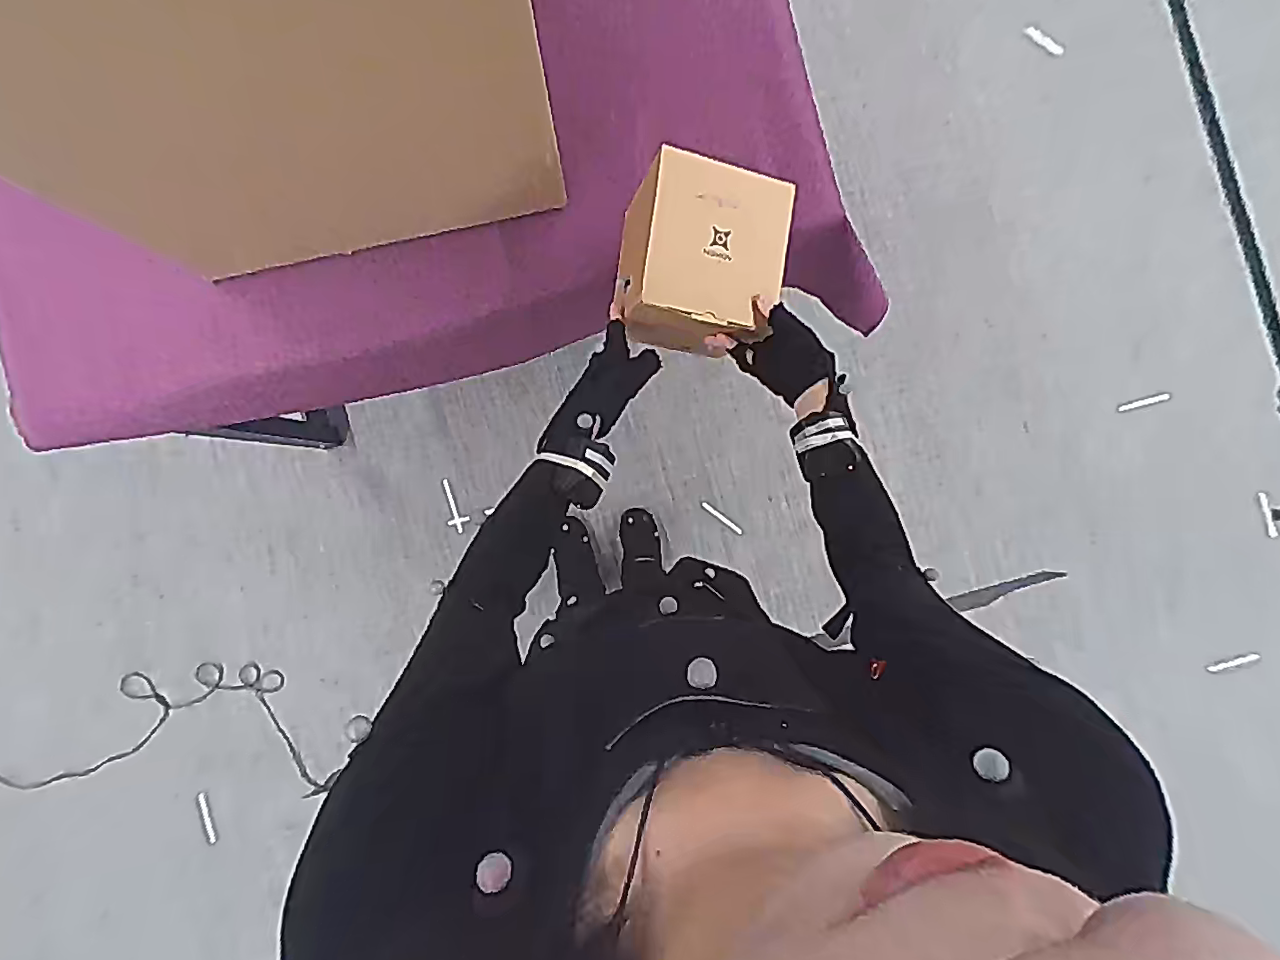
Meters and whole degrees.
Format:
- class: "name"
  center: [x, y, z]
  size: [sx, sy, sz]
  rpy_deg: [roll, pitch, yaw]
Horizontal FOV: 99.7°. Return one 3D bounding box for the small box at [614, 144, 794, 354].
- class: "small box"
  center: [0.069, -0.269, 0.680]
  size: [0.168, 0.176, 0.179]
  rpy_deg: [8, 88, -16]
